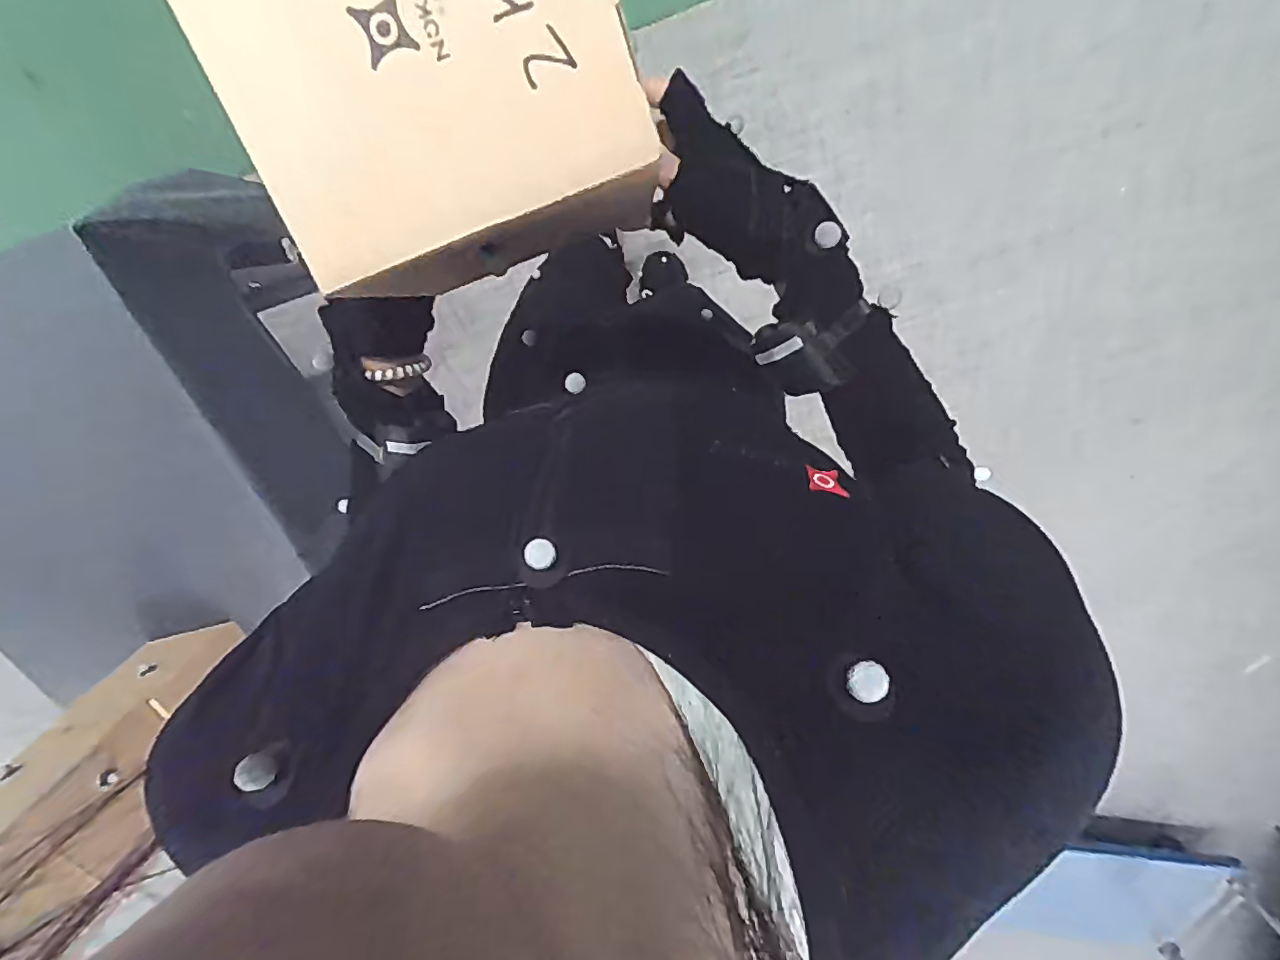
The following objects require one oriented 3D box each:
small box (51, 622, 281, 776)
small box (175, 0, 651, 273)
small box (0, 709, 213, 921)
[{"bbox_3d":[-0.728,0.353,0.855,0.179,0.176,0.168,-15,114,7],"label":"small box"},{"bbox_3d":[-0.101,-0.224,0.298,0.179,0.176,0.168,-19,109,5],"label":"small box"},{"bbox_3d":[-0.732,0.426,0.710,0.168,0.176,0.179,-16,114,9],"label":"small box"}]
